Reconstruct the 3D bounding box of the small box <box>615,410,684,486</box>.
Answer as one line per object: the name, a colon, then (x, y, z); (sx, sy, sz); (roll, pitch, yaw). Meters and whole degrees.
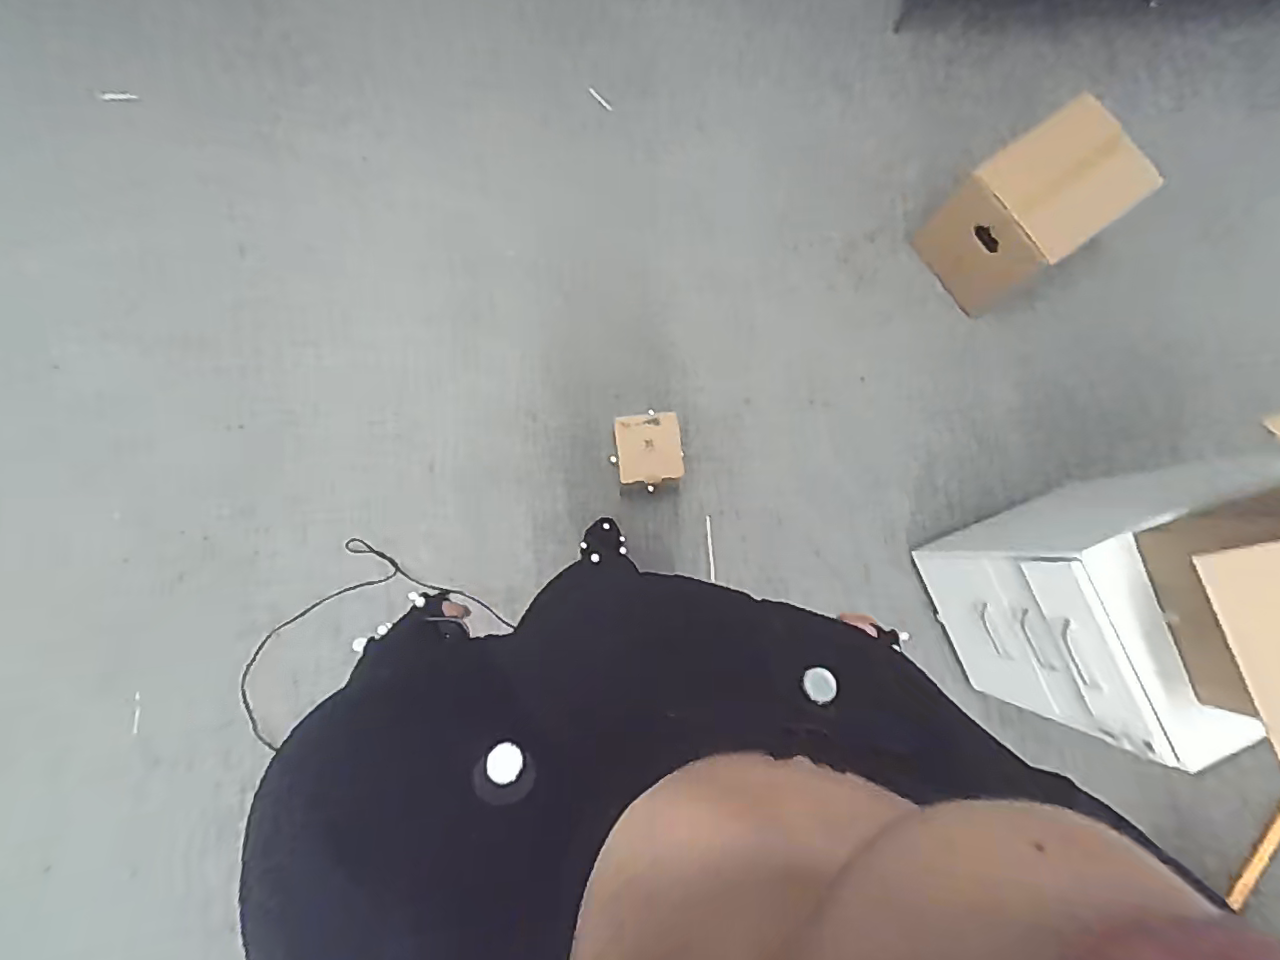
small box: (0.022, -0.079, 1.462); (0.168, 0.176, 0.179); (-5, 83, -4)
